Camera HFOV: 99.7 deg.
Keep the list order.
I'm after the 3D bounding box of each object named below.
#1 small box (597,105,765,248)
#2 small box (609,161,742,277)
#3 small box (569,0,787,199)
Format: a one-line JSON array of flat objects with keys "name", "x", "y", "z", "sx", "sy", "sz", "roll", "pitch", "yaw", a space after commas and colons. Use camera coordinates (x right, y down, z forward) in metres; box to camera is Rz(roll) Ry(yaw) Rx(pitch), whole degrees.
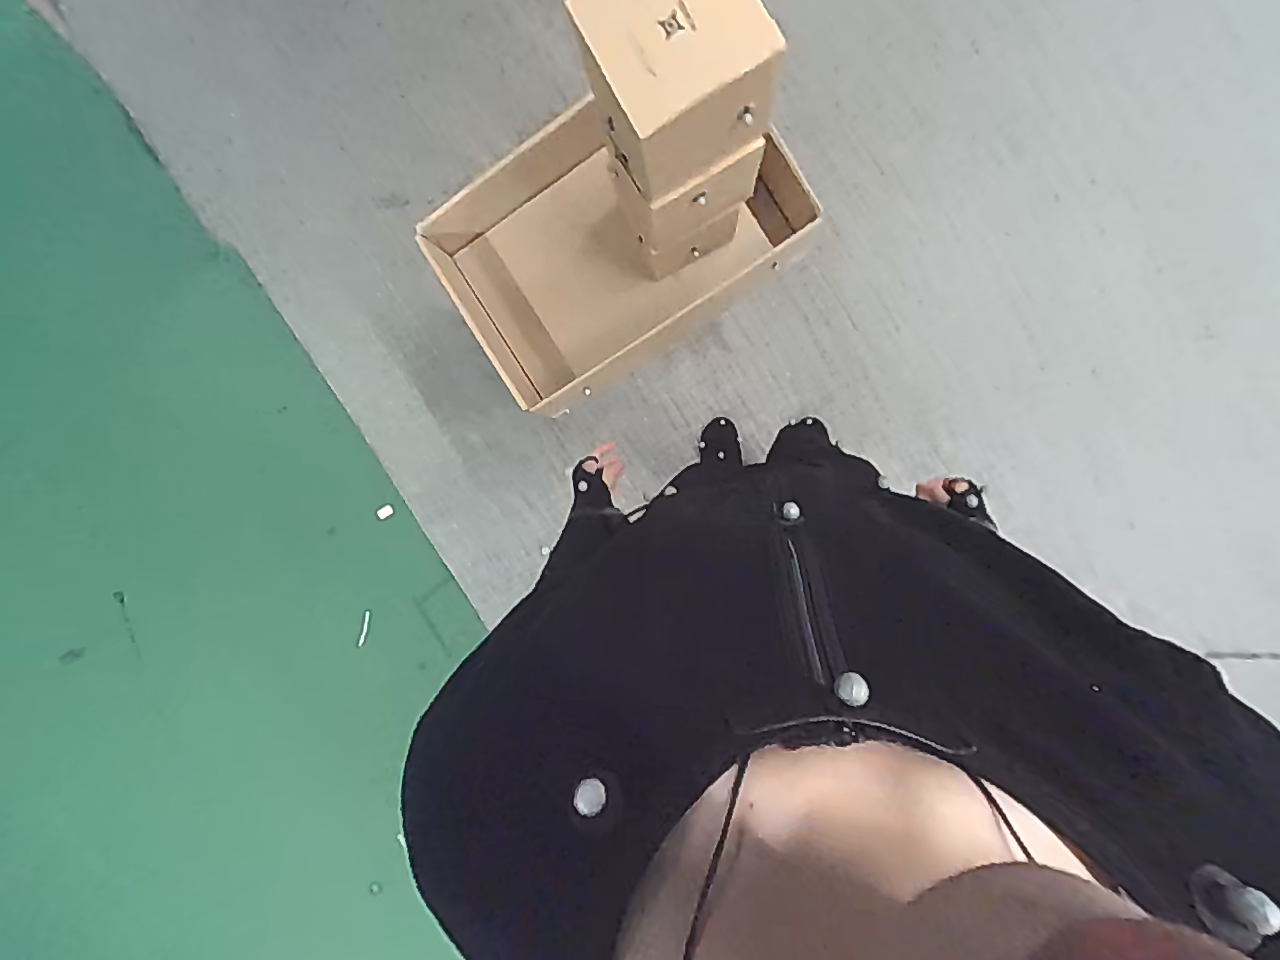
[{"name": "small box", "x": 0.062, "y": -0.476, "z": 0.794, "sx": 0.179, "sy": 0.176, "sz": 0.168, "roll": -28, "pitch": 91, "yaw": 7}, {"name": "small box", "x": 0.067, "y": -0.484, "z": 0.958, "sx": 0.168, "sy": 0.176, "sz": 0.179, "roll": -27, "pitch": 91, "yaw": 8}, {"name": "small box", "x": 0.045, "y": -0.474, "z": 0.632, "sx": 0.179, "sy": 0.176, "sz": 0.168, "roll": -28, "pitch": 90, "yaw": 8}]
